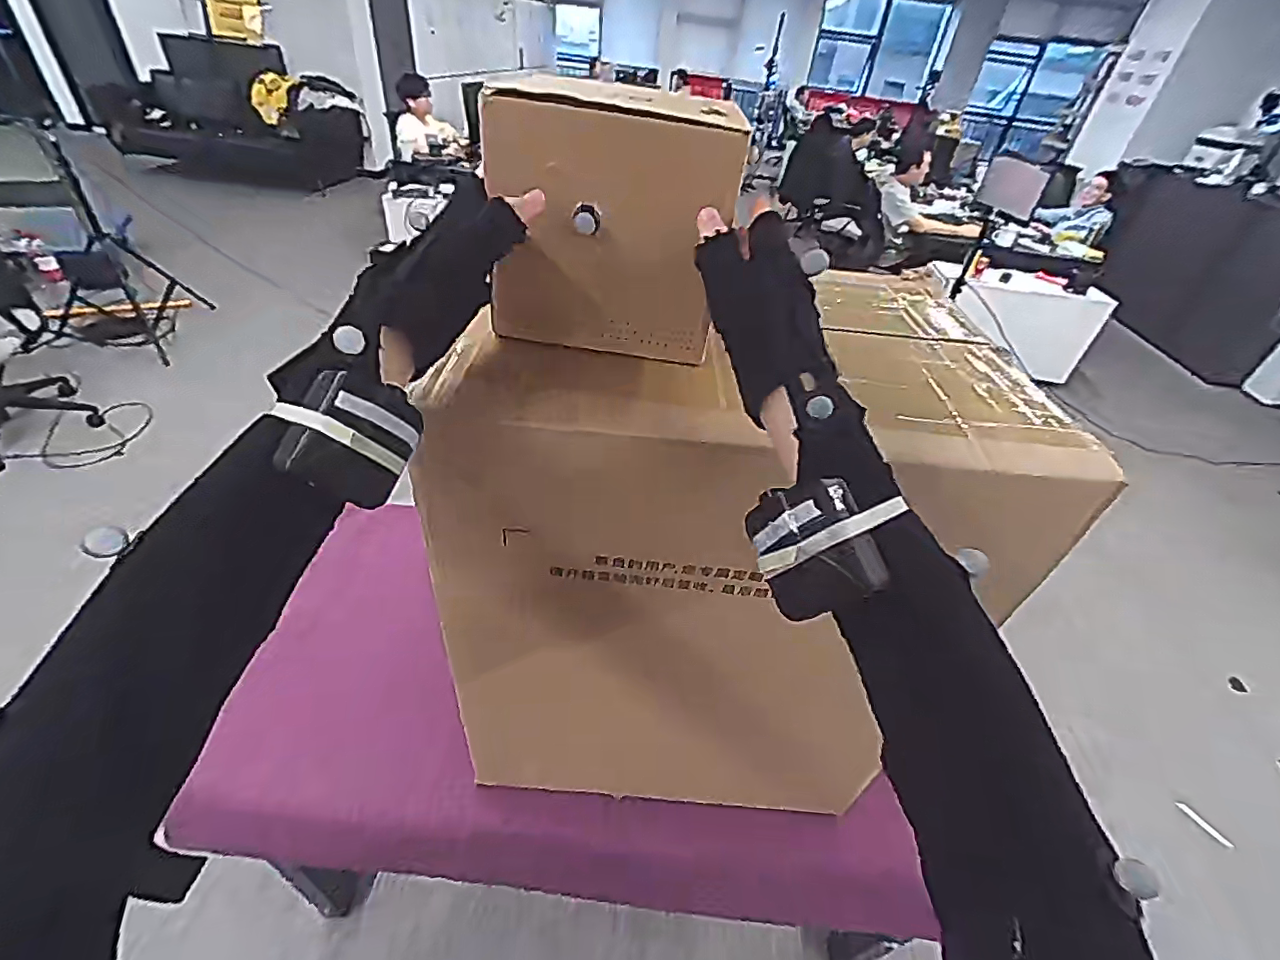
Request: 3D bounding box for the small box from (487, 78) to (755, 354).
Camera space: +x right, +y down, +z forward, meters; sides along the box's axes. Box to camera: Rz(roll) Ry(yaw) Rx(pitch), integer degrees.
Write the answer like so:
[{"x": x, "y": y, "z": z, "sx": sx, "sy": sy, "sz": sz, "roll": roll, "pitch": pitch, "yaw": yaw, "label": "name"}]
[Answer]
[{"x": -0.014, "y": -0.220, "z": 0.451, "sx": 0.179, "sy": 0.176, "sz": 0.168, "roll": 8, "pitch": 39, "yaw": -1, "label": "small box"}]
